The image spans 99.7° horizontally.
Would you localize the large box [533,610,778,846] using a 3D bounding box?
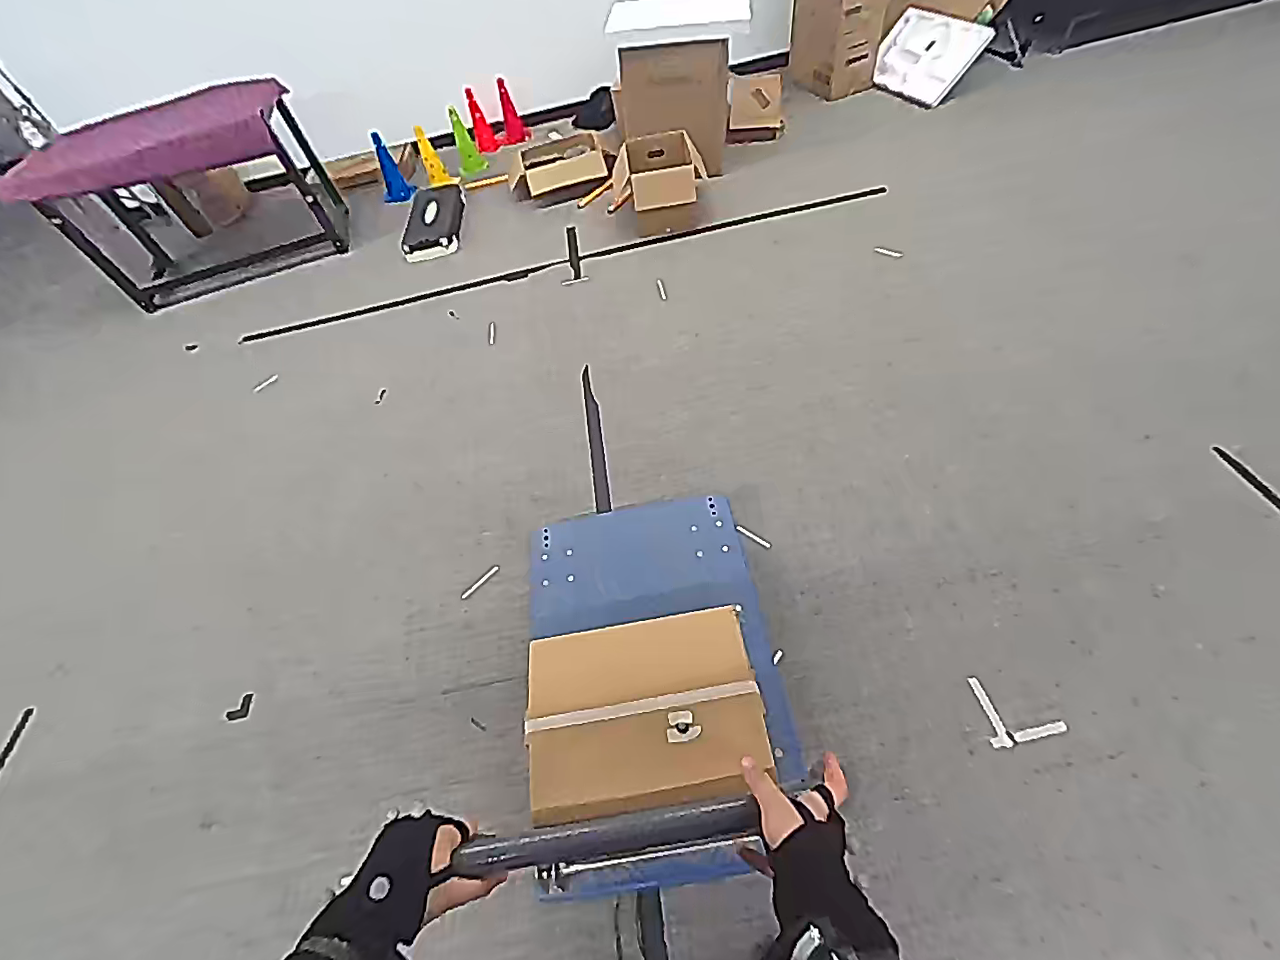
[{"bbox_3d":[0.025,0.496,1.066,0.408,0.320,0.320,-11,53,1],"label":"large box"}]
